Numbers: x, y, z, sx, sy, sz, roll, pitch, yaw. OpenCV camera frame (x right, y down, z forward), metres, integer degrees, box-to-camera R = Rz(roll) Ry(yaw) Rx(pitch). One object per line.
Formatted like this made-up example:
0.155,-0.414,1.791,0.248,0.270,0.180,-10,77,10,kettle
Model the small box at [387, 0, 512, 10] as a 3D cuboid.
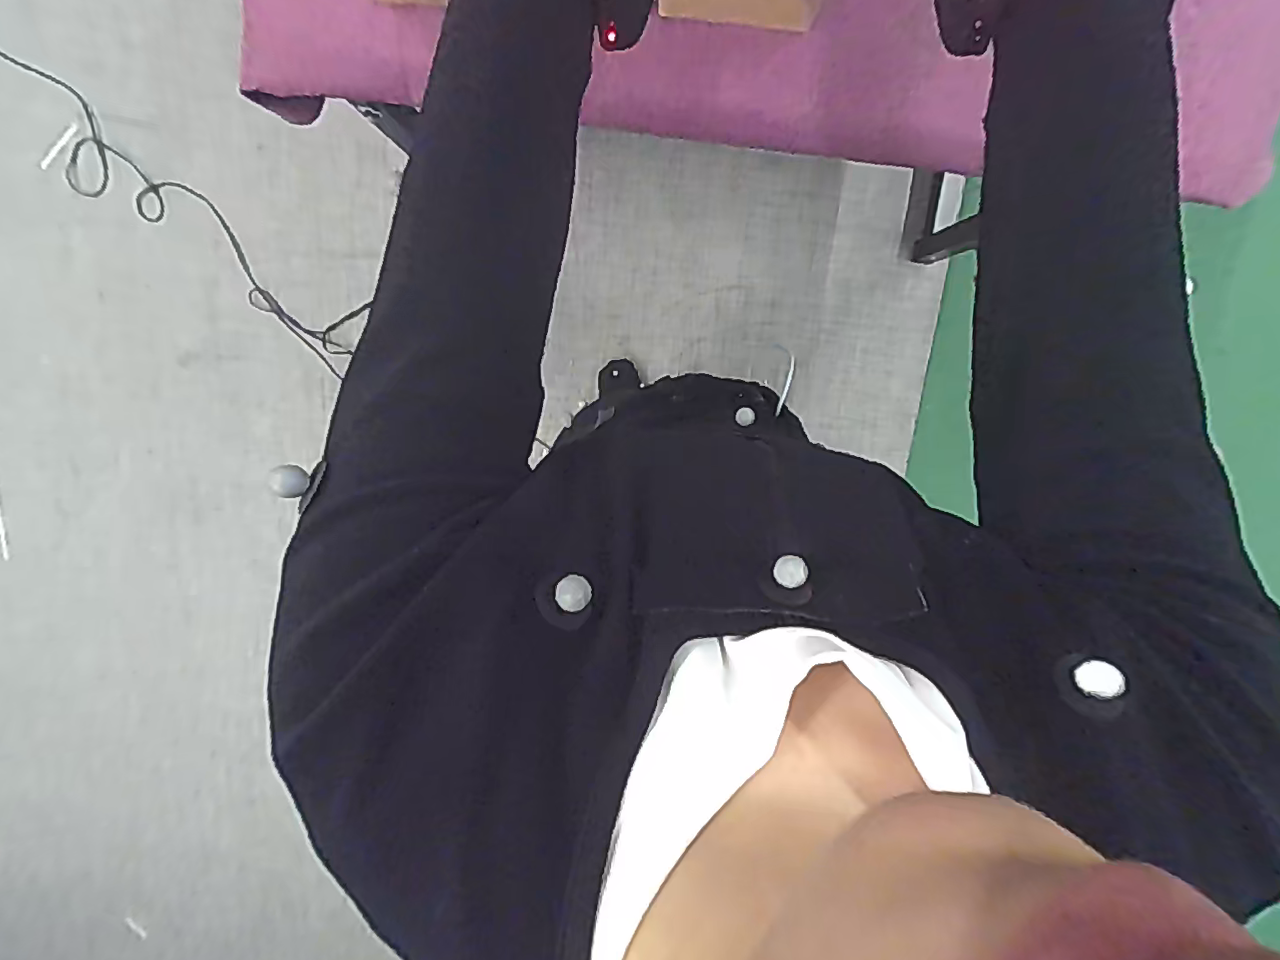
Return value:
-0.220,-0.617,0.528,0.168,0.176,0.179,2,102,-1,small box
